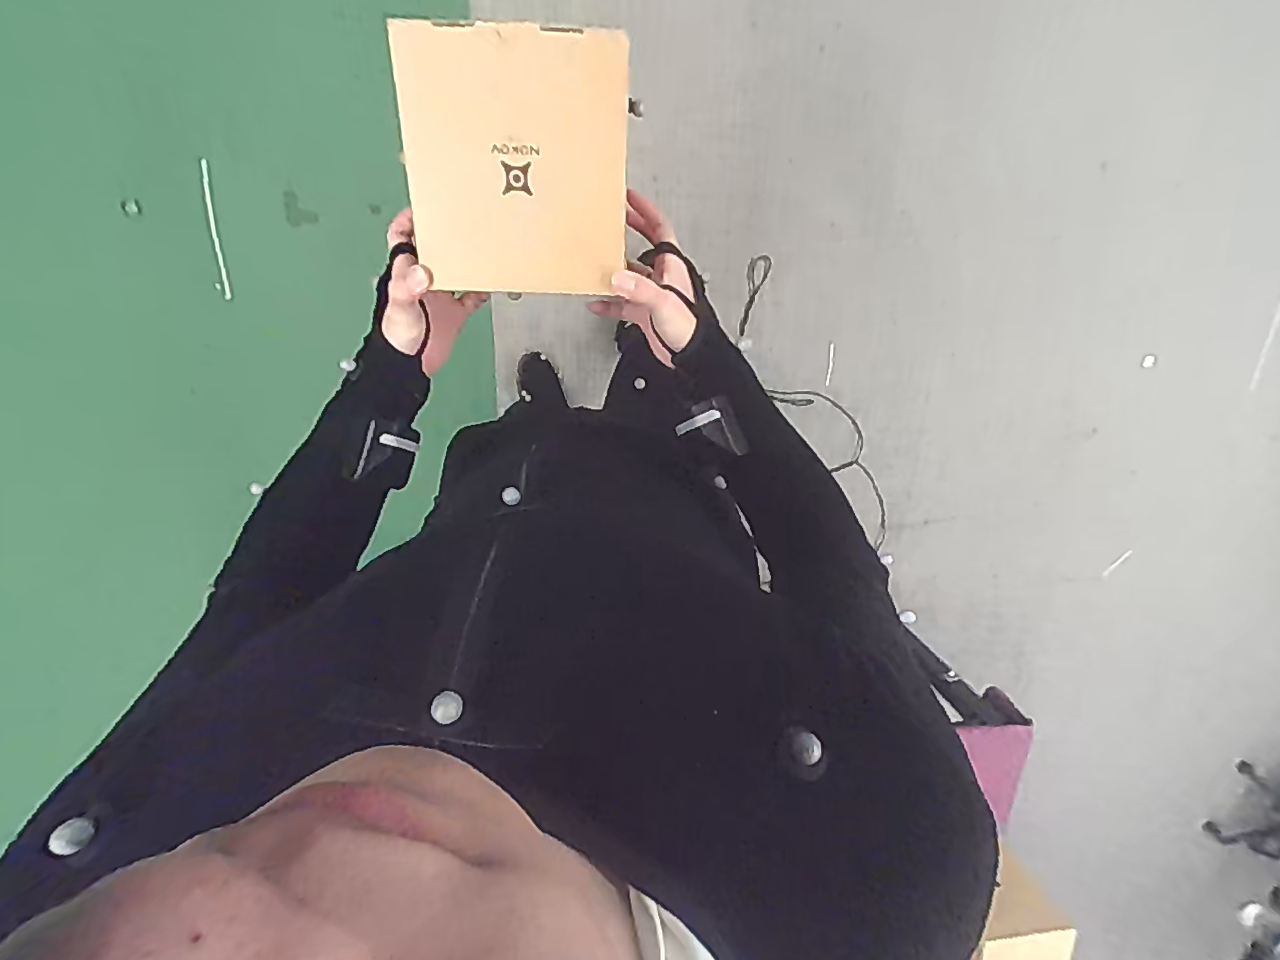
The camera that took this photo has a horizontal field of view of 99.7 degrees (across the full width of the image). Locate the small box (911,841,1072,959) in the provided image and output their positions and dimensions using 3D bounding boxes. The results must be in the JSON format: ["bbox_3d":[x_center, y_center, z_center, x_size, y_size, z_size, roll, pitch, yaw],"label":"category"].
[{"bbox_3d":[0.617,0.786,0.973,0.168,0.176,0.179,-2,107,-6],"label":"small box"}]

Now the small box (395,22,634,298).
[{"bbox_3d":[-0.091,-0.266,0.480,0.168,0.176,0.179,2,115,-2],"label":"small box"}]
